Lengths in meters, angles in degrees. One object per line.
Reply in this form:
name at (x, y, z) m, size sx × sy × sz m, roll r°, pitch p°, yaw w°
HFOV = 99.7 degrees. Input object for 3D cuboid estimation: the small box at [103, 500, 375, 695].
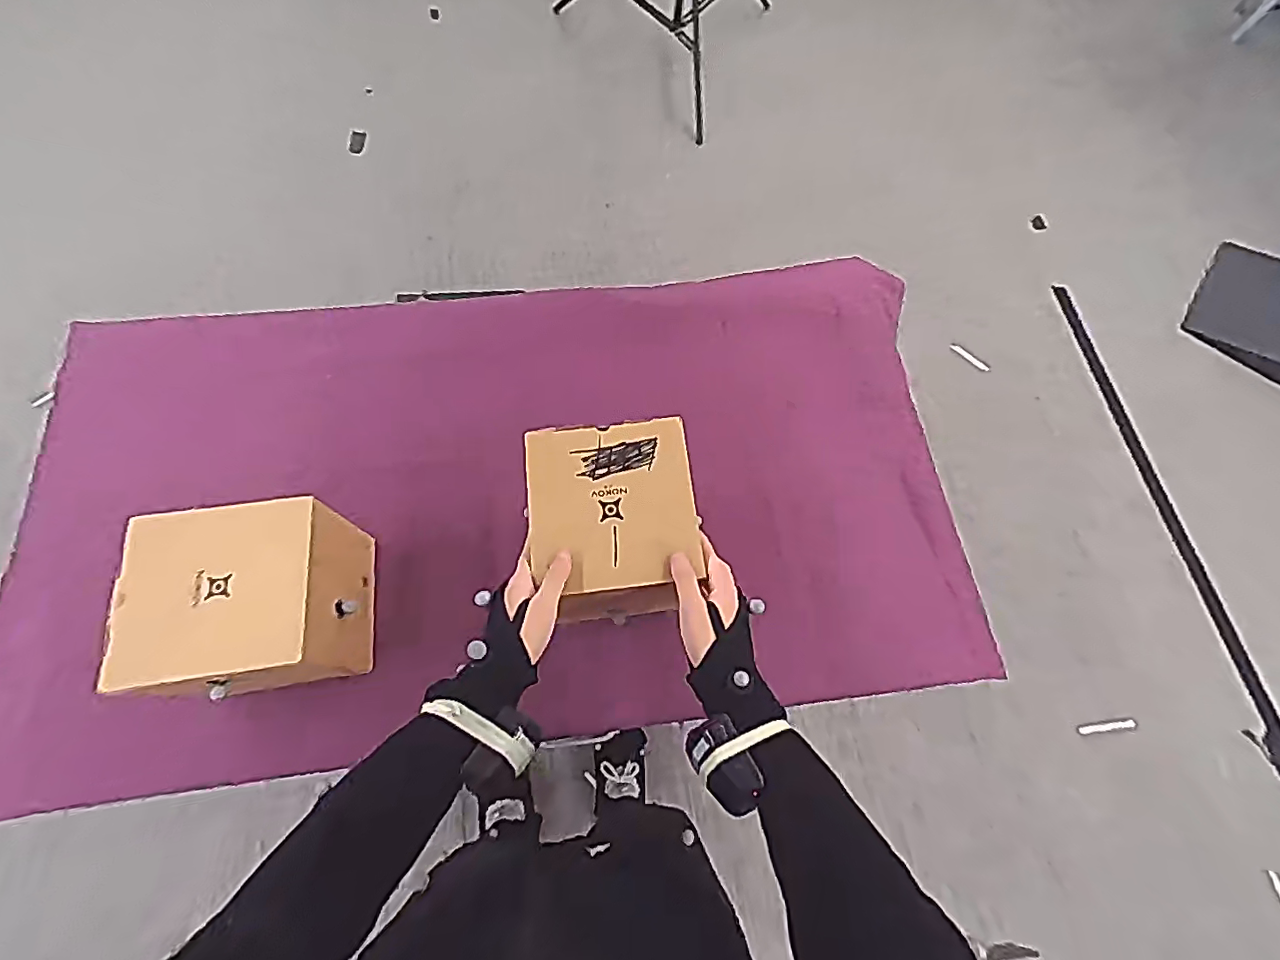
small box at (-0.409, 0.133, 0.591) m, size 0.179 × 0.176 × 0.168 m, roll -8°, pitch 69°, yaw -6°

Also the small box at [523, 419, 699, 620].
small box at (-0.034, 0.051, 0.608) m, size 0.168 × 0.176 × 0.179 m, roll -6°, pitch 69°, yaw -3°
